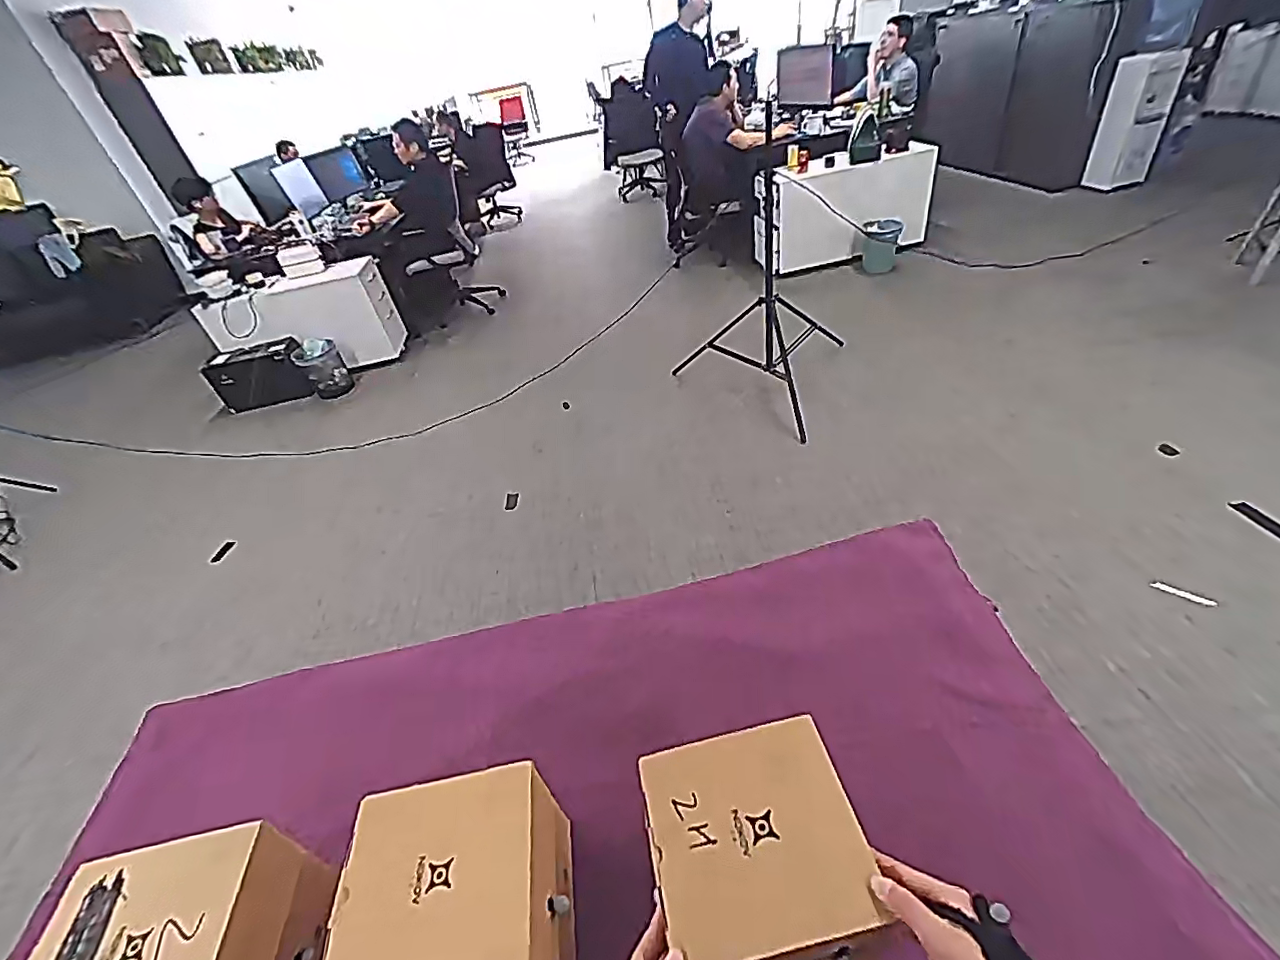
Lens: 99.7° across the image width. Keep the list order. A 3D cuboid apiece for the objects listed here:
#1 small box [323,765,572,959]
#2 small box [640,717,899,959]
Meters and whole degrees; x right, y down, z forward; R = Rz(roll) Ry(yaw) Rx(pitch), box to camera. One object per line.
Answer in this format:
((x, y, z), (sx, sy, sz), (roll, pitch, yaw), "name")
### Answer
((-0.166, 0.408, 0.520), (0.179, 0.176, 0.168), (-13, 38, 0), "small box")
((0.108, 0.357, 0.504), (0.179, 0.176, 0.168), (-14, 37, -2), "small box")
